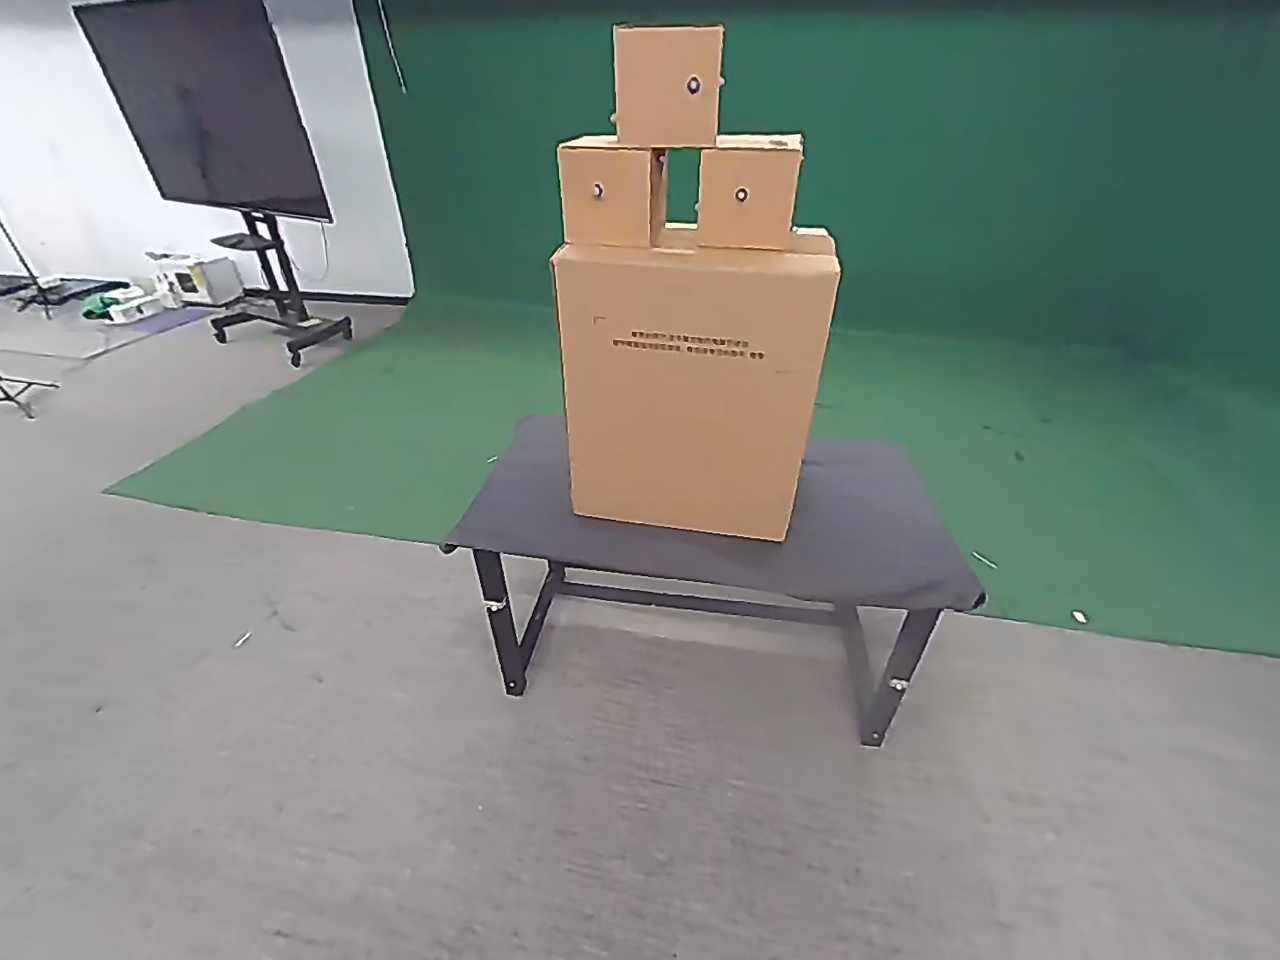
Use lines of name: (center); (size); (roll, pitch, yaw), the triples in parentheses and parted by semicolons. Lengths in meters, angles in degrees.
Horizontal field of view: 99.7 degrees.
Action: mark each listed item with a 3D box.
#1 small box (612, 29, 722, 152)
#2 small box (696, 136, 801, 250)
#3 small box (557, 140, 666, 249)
small box: (0.047, -0.690, 0.964); (0.179, 0.176, 0.168); (0, 37, 3)
small box: (0.208, -0.556, 1.048); (0.179, 0.176, 0.168); (7, 40, 11)
small box: (-0.048, -0.568, 1.076); (0.179, 0.176, 0.168); (7, 40, 11)
